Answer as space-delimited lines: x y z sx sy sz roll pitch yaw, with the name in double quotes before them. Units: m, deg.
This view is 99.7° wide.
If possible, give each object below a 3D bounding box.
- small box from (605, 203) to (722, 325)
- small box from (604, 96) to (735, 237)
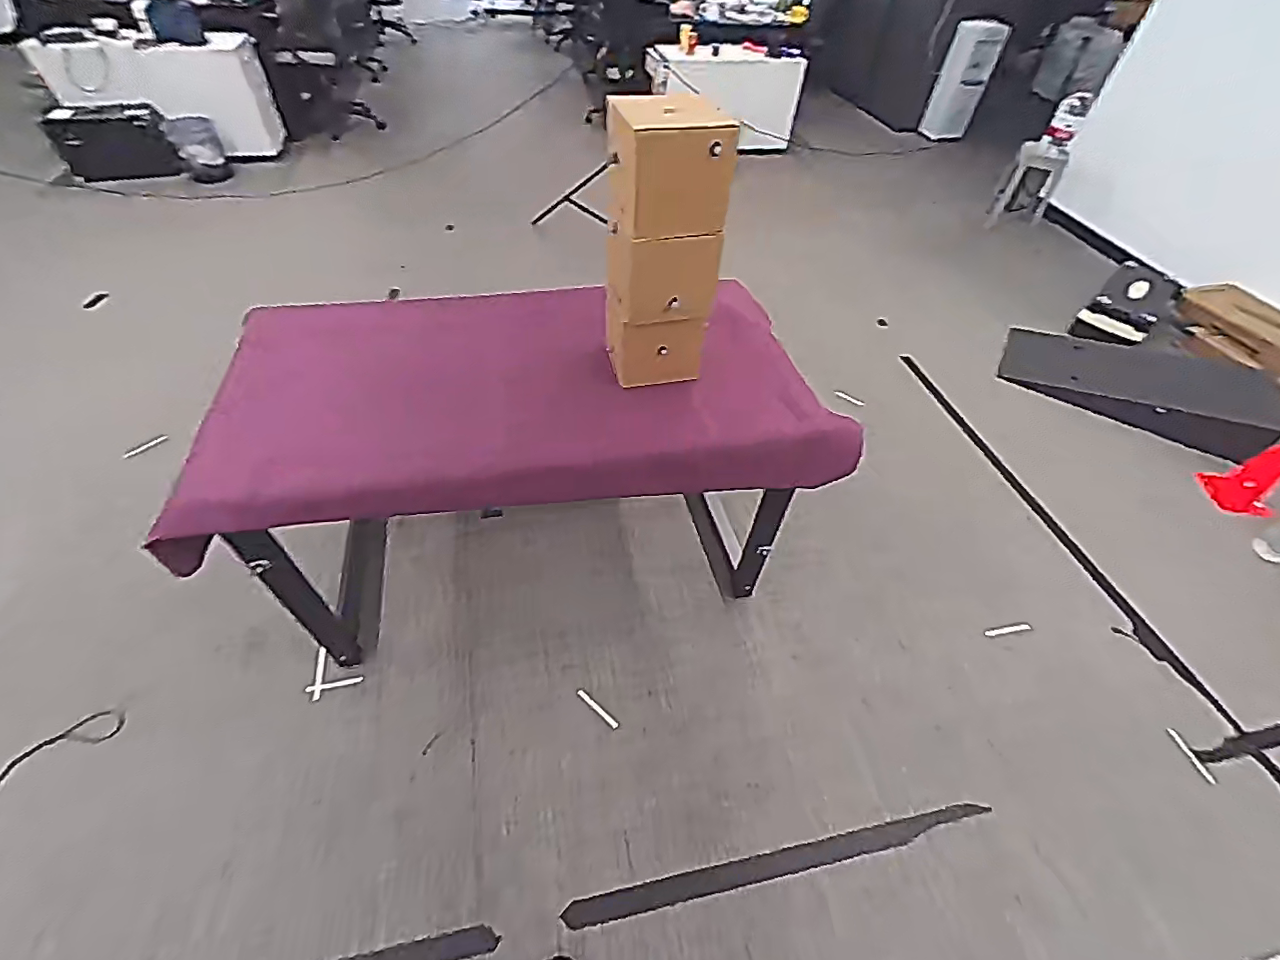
"small box" 0.036 -0.421 1.045 0.179 0.176 0.168 -11 50 -14
"small box" 0.041 -0.535 0.928 0.179 0.176 0.168 -11 51 -14
